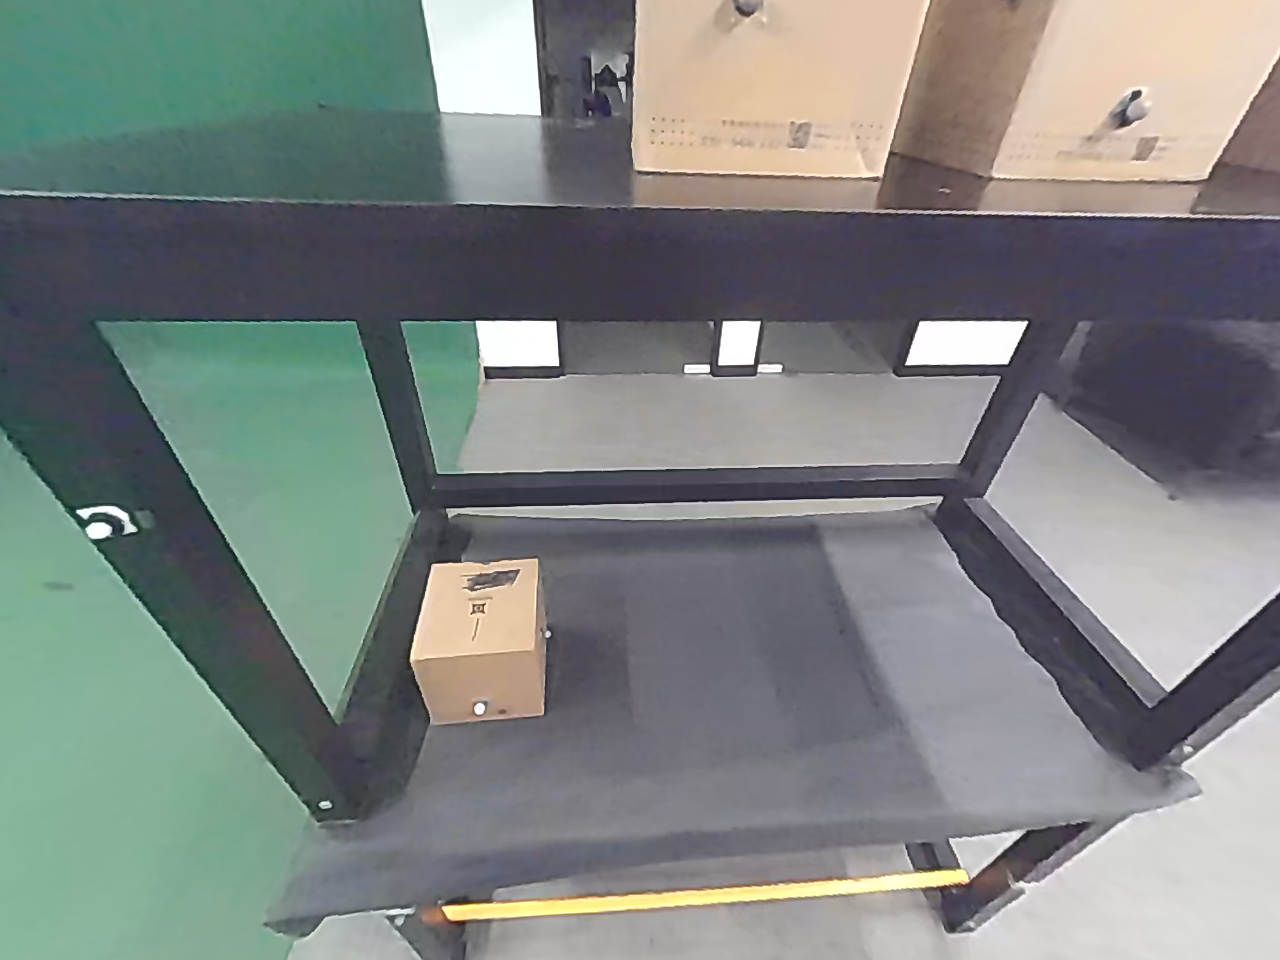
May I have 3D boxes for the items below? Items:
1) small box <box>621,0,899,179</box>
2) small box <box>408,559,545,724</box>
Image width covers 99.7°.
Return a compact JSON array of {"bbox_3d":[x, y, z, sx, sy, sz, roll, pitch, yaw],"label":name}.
[{"bbox_3d":[0.070,-0.316,0.378,0.168,0.176,0.179,0,36,-2],"label":"small box"},{"bbox_3d":[-0.237,0.245,0.833,0.168,0.176,0.179,-3,38,-6],"label":"small box"}]
